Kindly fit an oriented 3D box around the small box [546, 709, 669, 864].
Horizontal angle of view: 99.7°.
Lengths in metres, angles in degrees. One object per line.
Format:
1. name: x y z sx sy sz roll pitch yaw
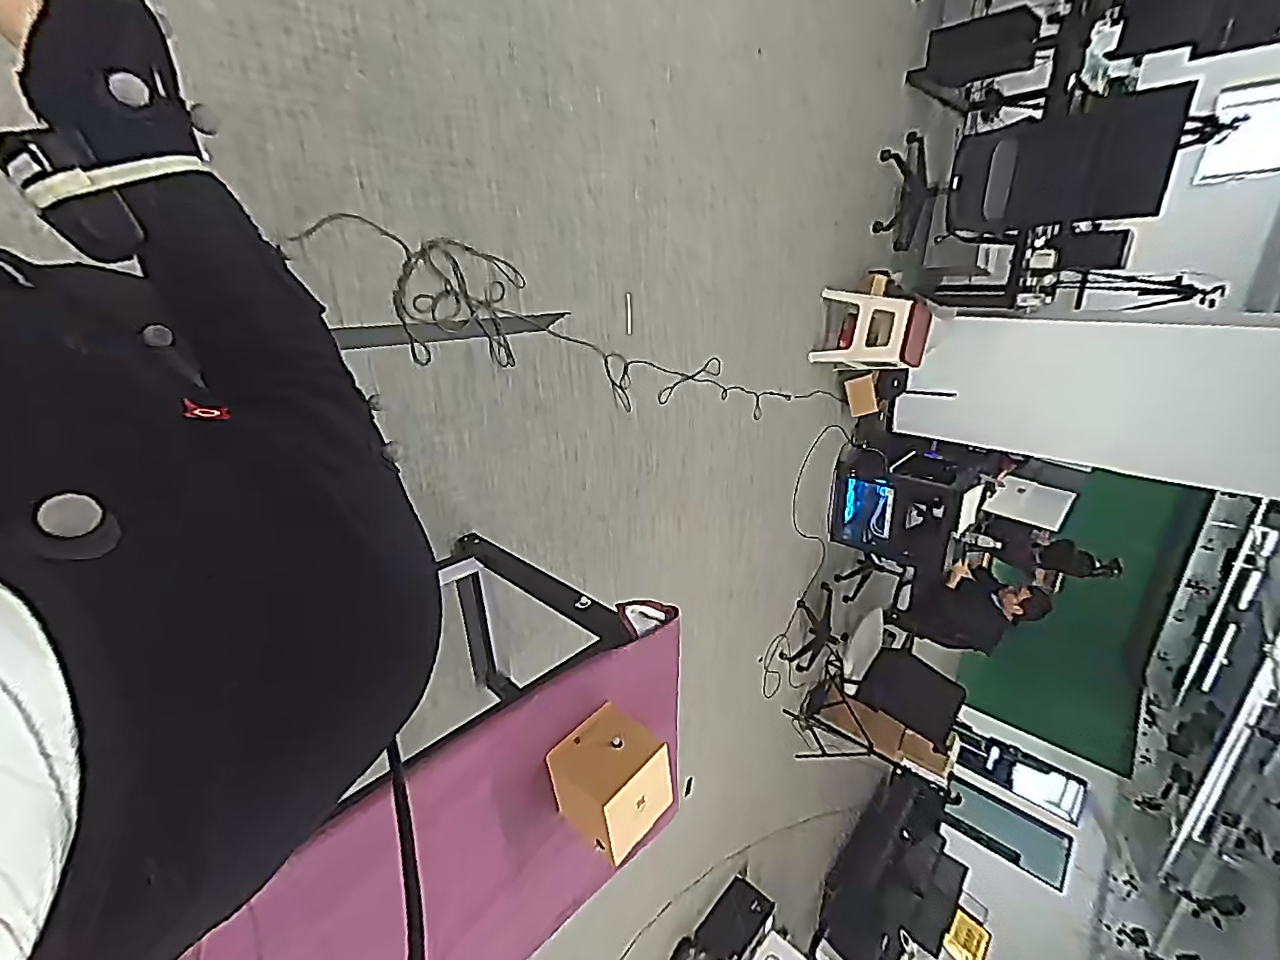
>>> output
1. small box: -0.064 0.578 1.052 0.168 0.176 0.179 -29 124 -39
